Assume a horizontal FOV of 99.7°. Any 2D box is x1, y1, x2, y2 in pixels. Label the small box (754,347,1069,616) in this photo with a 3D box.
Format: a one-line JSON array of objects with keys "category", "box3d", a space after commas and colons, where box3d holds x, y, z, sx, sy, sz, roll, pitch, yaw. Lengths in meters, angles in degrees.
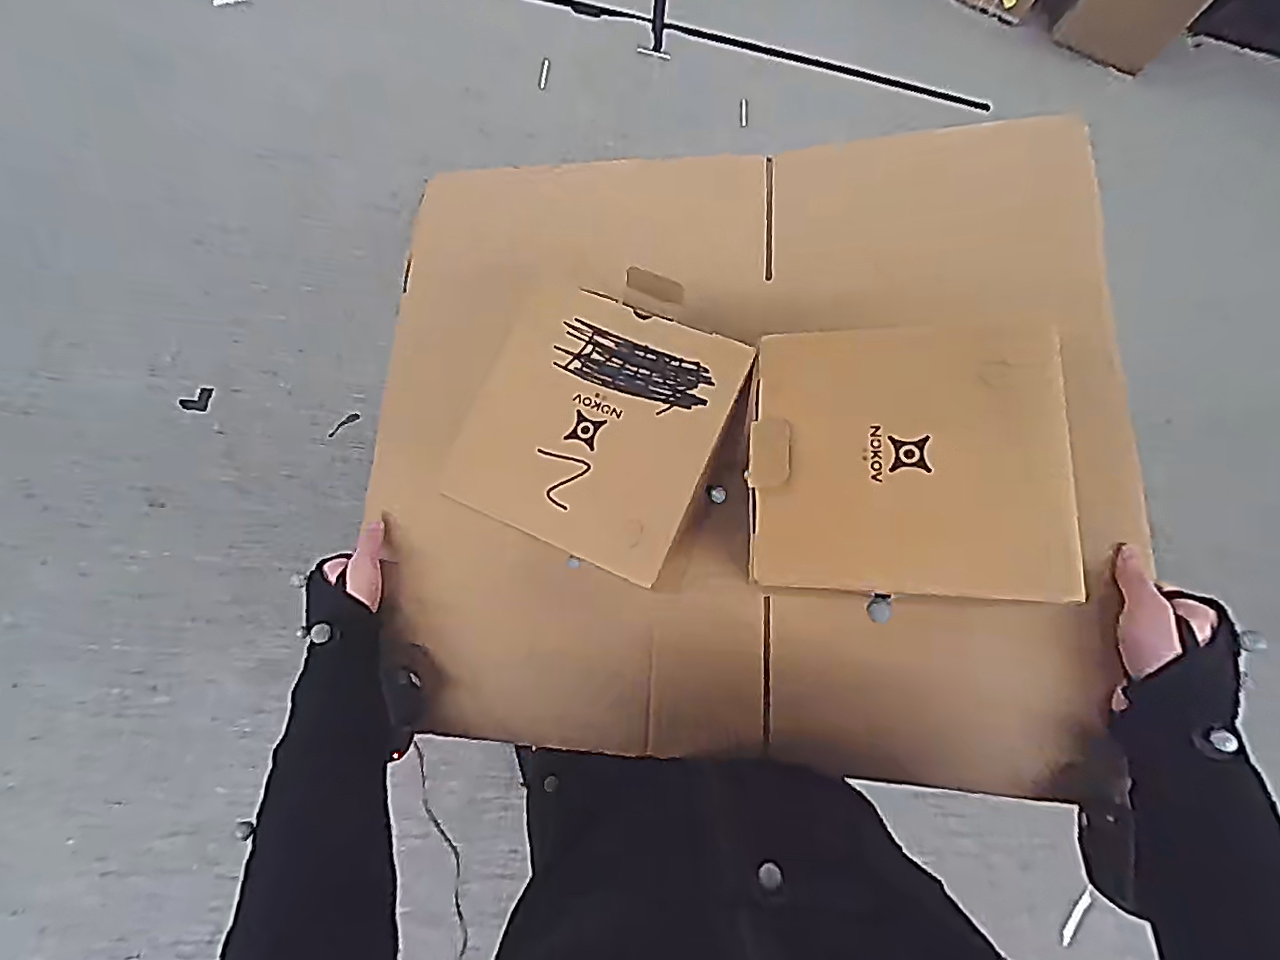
[{"category": "small box", "box3d": [0.182, 0.012, 0.415, 0.179, 0.176, 0.168, 1, 77, 15]}]
